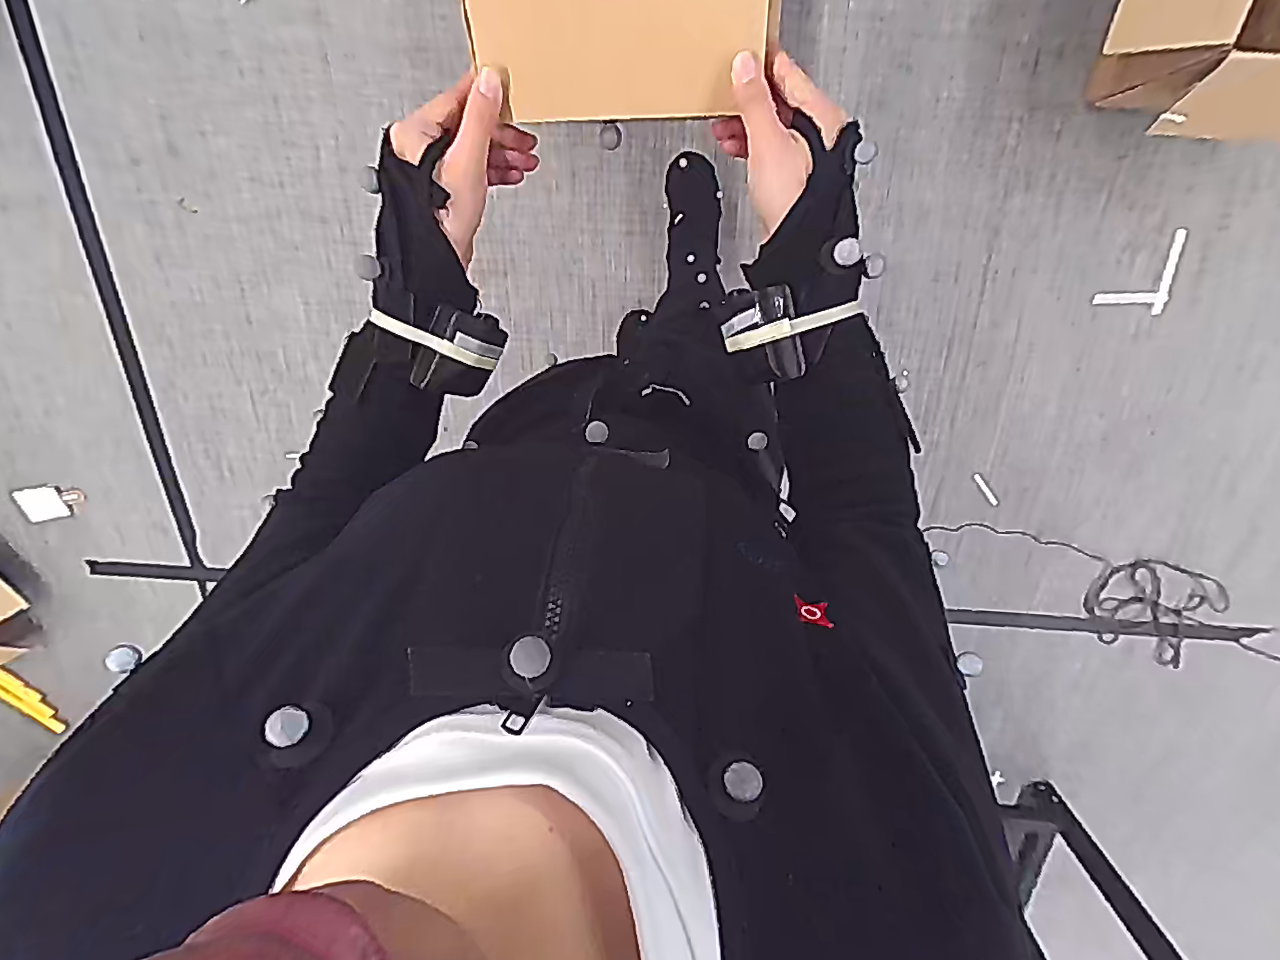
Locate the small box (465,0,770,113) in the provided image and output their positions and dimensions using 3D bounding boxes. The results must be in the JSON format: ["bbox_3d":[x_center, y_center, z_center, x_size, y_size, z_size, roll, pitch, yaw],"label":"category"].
[{"bbox_3d":[-0.015,-0.344,0.354,0.179,0.176,0.168,-1,124,1],"label":"small box"}]
